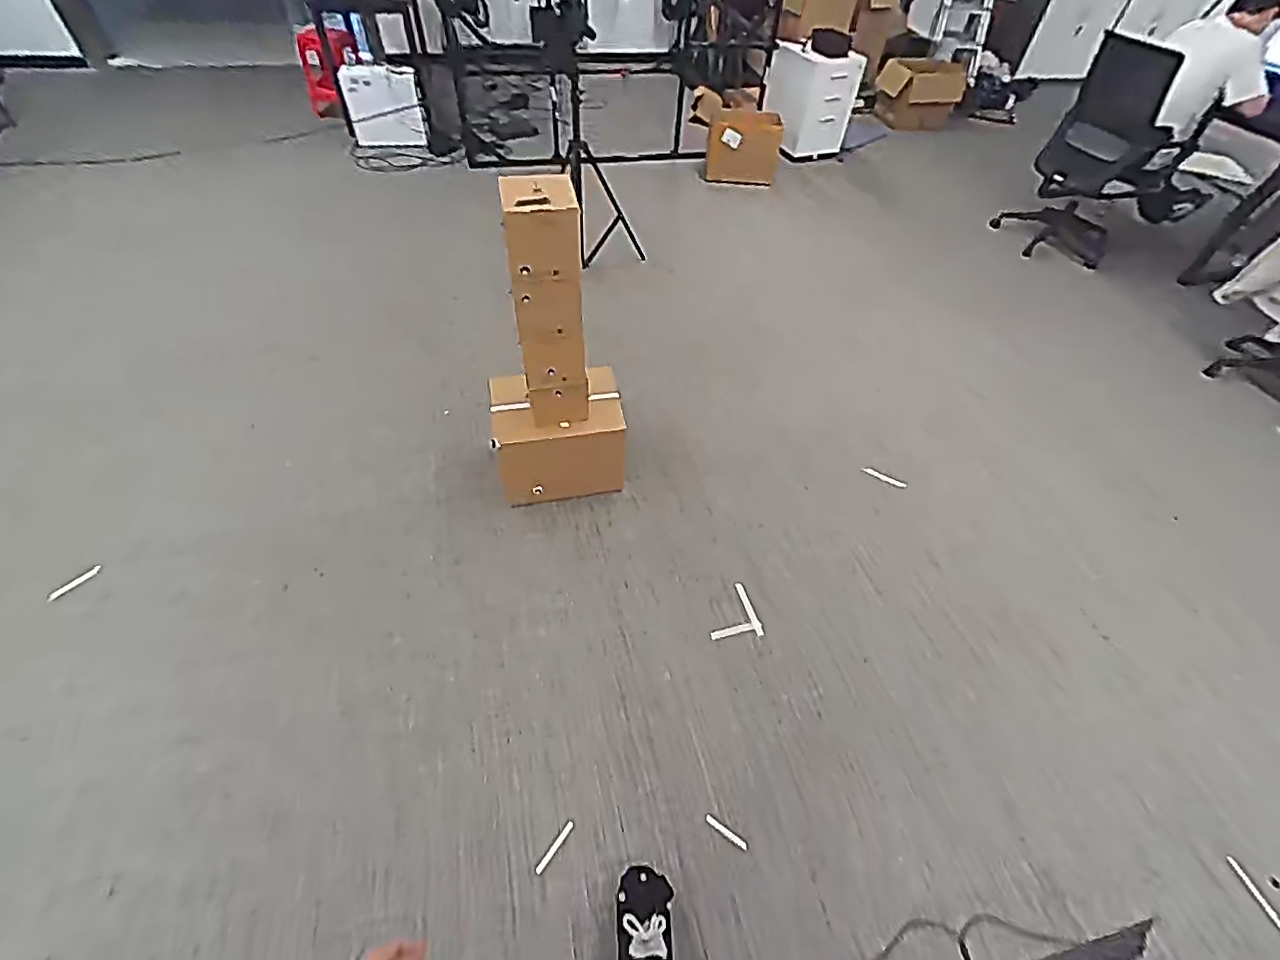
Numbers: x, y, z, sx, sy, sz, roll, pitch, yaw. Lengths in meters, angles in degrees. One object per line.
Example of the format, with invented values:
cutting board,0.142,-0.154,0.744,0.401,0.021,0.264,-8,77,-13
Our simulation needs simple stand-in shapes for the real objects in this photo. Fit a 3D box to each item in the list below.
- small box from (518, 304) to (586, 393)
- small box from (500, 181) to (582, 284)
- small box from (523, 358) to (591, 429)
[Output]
small box,-0.246,-0.369,1.524,0.168,0.176,0.179,-9,53,-11
small box,-0.229,-0.574,1.268,0.168,0.176,0.179,-8,52,-10
small box,-0.252,-0.273,1.655,0.179,0.176,0.168,-10,53,-12
